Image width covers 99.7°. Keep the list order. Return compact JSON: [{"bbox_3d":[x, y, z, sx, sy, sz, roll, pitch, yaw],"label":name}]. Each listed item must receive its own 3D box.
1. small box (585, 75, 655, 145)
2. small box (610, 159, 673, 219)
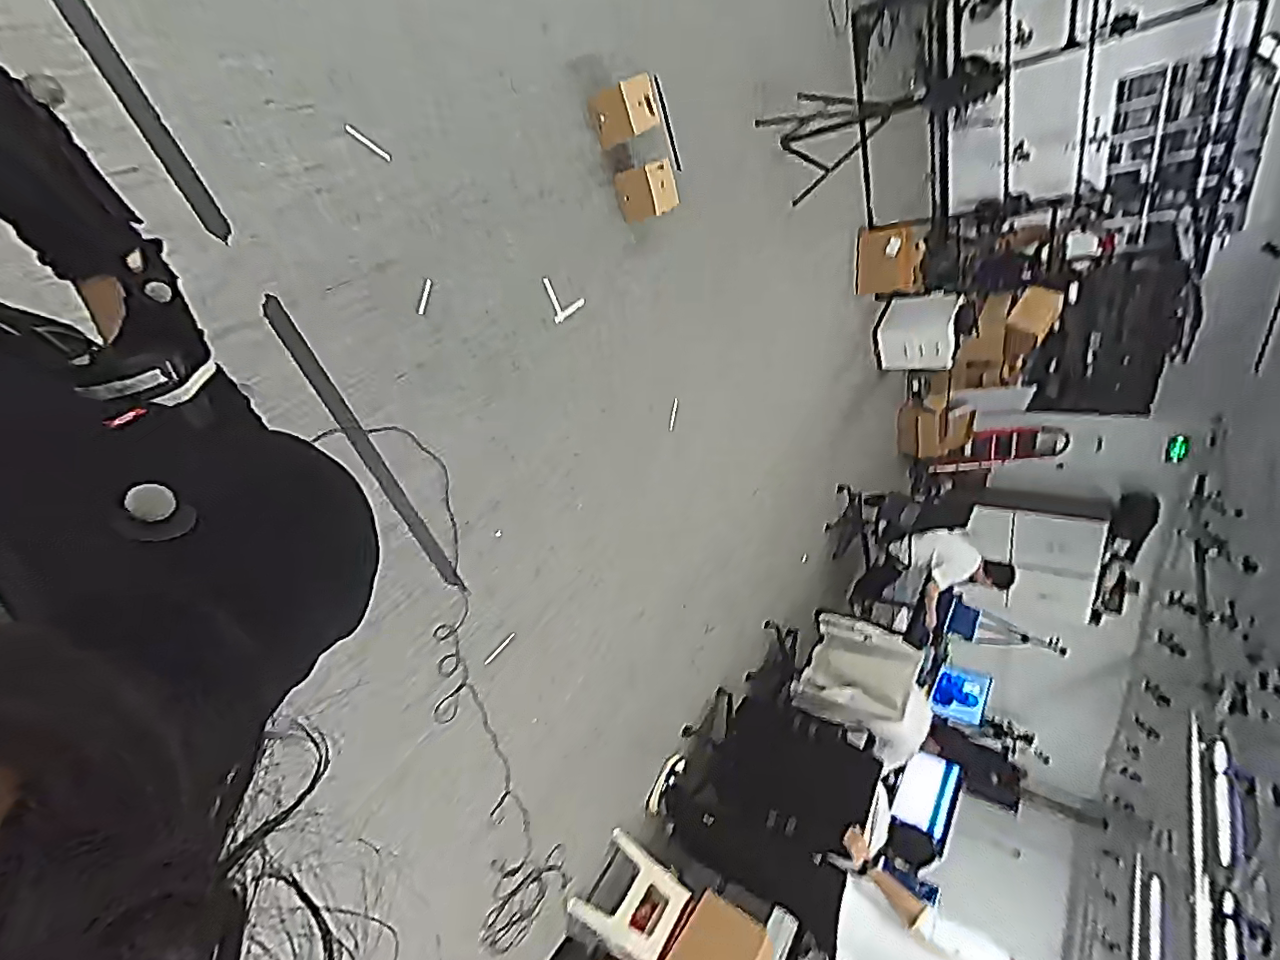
[{"bbox_3d":[-0.075,-1.379,2.019,0.179,0.176,0.168,-47,130,-35],"label":"small box"},{"bbox_3d":[0.005,-1.158,2.164,0.168,0.176,0.179,-44,129,-37],"label":"small box"}]
